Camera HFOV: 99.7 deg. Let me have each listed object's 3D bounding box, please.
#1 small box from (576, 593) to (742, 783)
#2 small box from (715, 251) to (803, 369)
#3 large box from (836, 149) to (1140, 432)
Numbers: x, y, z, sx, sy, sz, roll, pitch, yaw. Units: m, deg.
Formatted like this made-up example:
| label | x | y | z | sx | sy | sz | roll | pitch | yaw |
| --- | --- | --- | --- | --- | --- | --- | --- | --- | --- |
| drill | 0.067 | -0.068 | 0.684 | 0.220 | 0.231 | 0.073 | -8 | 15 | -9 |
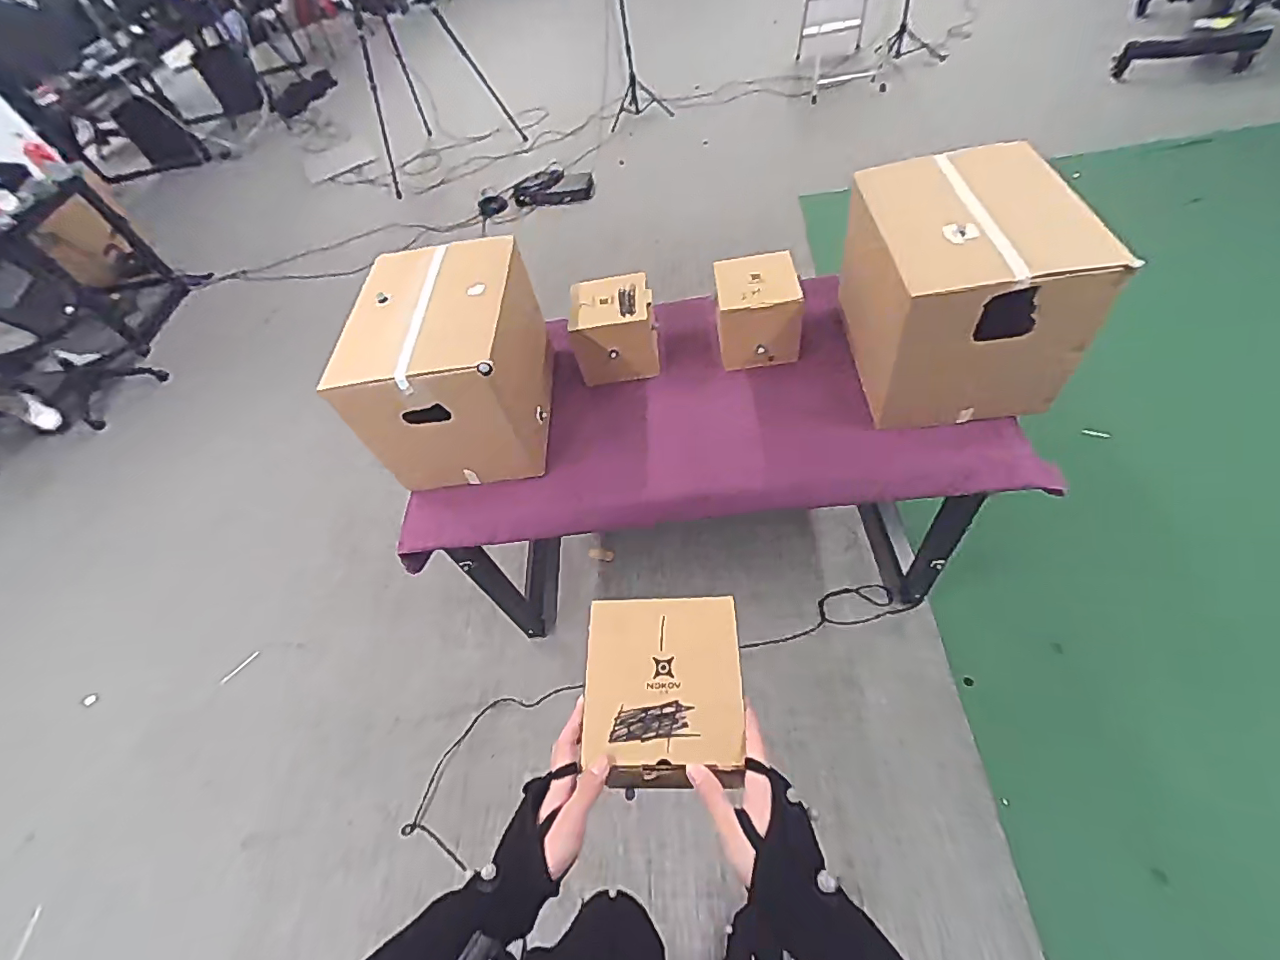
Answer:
| label | x | y | z | sx | sy | sz | roll | pitch | yaw |
| --- | --- | --- | --- | --- | --- | --- | --- | --- | --- |
| small box | 0.028 | 0.248 | 0.632 | 0.168 | 0.176 | 0.179 | -3 | 53 | 5 |
| small box | 0.254 | -0.370 | 1.188 | 0.168 | 0.176 | 0.179 | -6 | 55 | 8 |
| large box | 0.587 | -0.351 | 1.023 | 0.320 | 0.320 | 0.408 | -6 | 54 | 9 |
